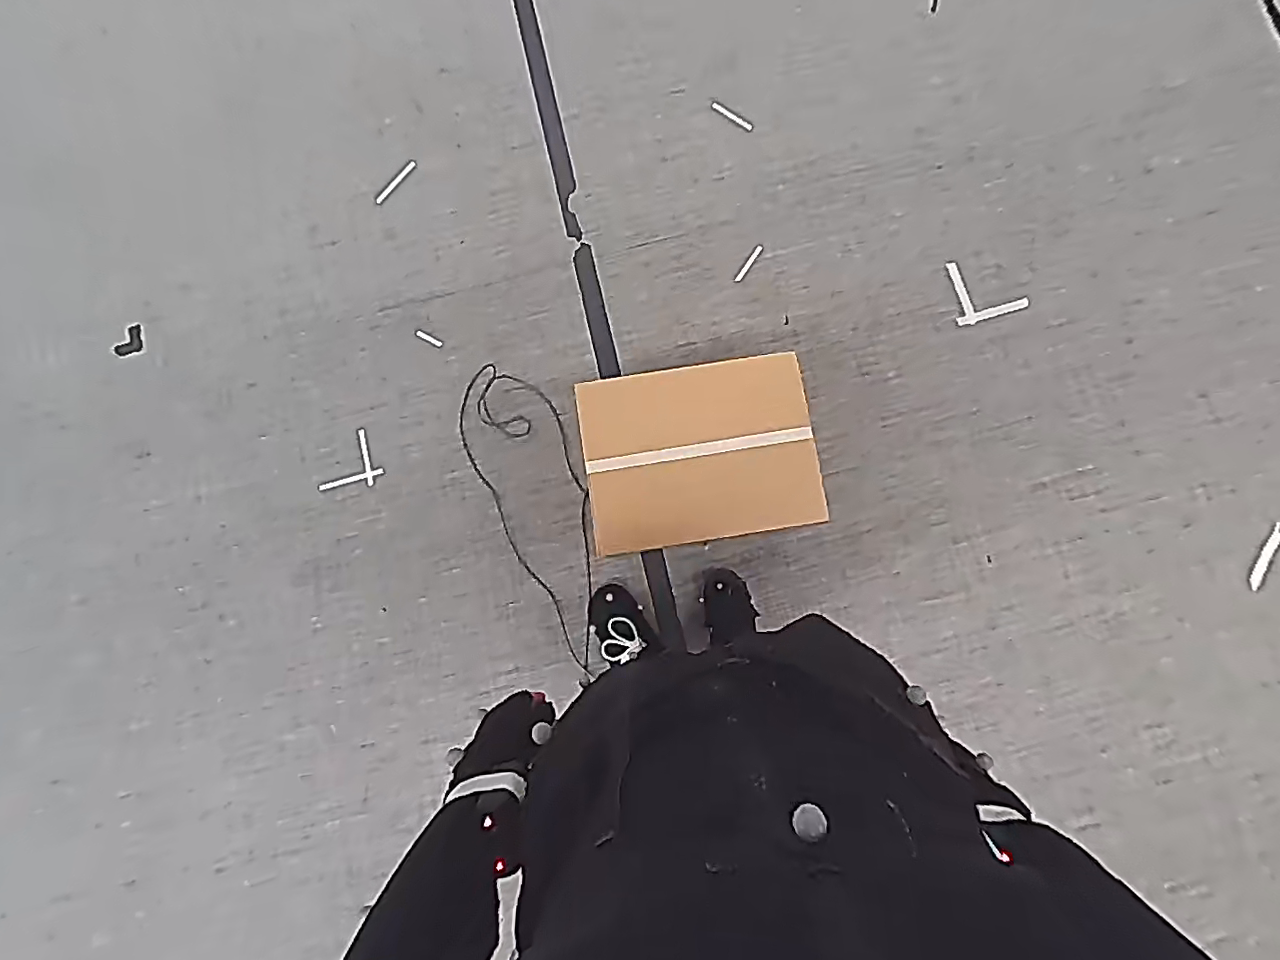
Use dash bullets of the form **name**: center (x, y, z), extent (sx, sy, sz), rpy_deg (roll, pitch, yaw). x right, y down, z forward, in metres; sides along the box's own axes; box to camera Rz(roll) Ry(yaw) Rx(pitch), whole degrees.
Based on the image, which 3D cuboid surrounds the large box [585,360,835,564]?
- **large box**: center (0.121, -0.013, 1.099), extent (0.408, 0.320, 0.320), rpy_deg (-9, 82, 0)
